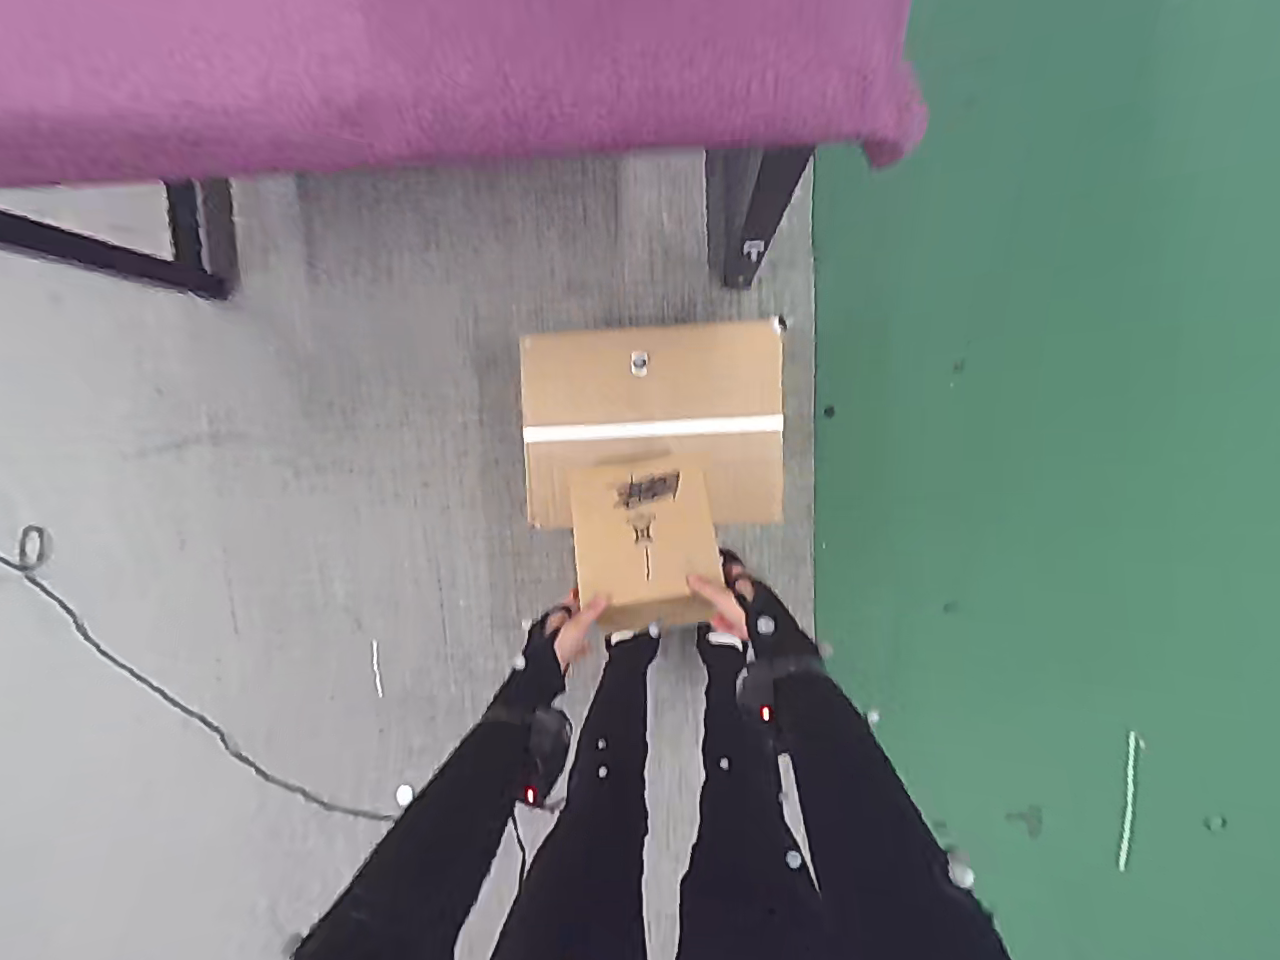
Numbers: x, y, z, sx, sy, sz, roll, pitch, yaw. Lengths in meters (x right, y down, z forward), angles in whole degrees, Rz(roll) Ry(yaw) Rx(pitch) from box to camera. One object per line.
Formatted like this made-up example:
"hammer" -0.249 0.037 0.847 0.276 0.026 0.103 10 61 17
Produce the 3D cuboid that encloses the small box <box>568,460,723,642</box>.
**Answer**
"small box" 0.006 0.097 0.697 0.168 0.176 0.179 -9 63 1
